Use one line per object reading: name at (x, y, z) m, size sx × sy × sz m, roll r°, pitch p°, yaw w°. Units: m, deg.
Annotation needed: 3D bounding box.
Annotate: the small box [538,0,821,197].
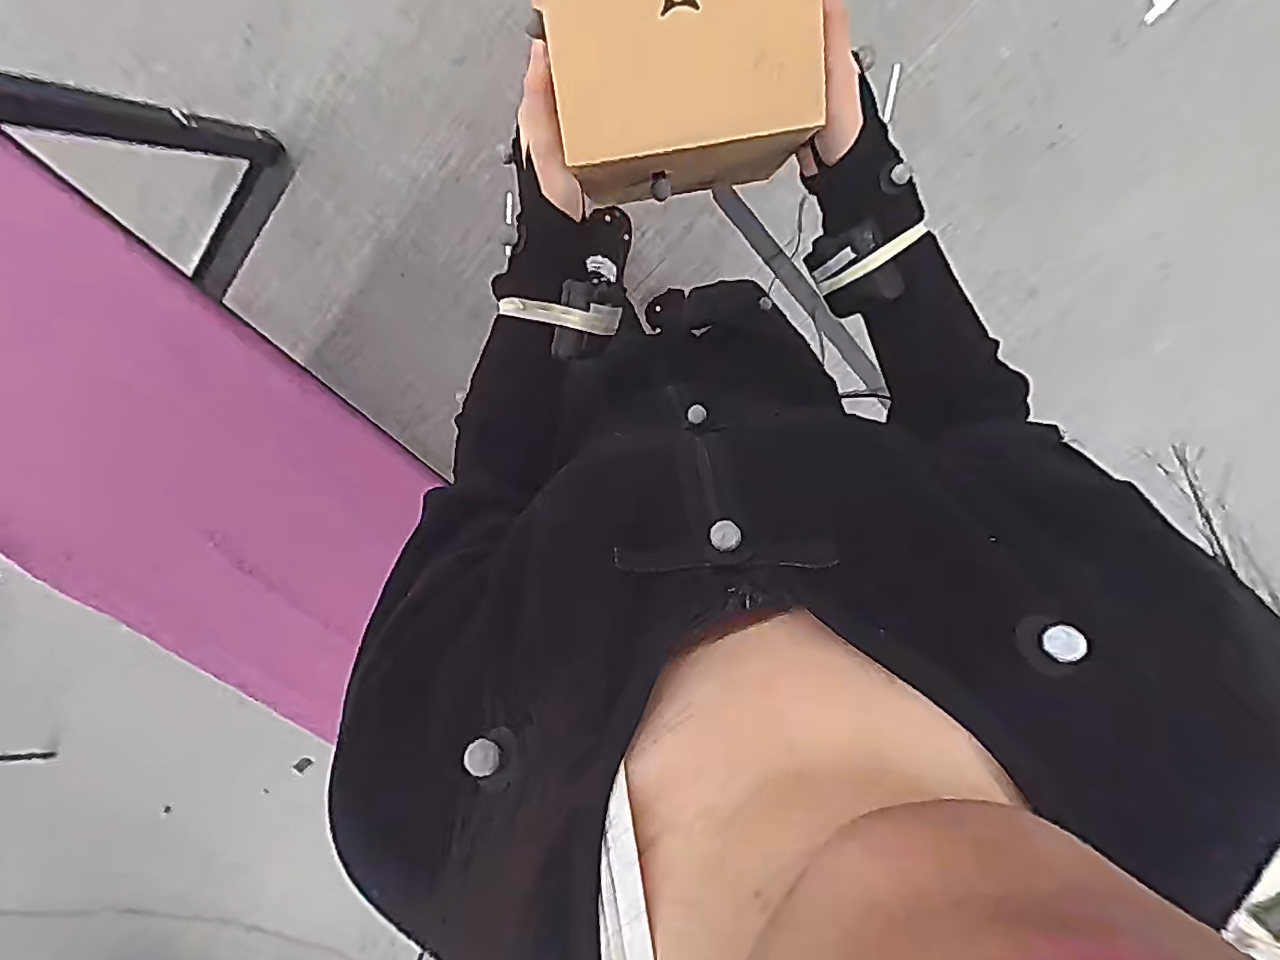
small box at (0.024, -0.317, 0.389) m, size 0.168 × 0.176 × 0.179 m, roll -7°, pitch 107°, yaw 5°
